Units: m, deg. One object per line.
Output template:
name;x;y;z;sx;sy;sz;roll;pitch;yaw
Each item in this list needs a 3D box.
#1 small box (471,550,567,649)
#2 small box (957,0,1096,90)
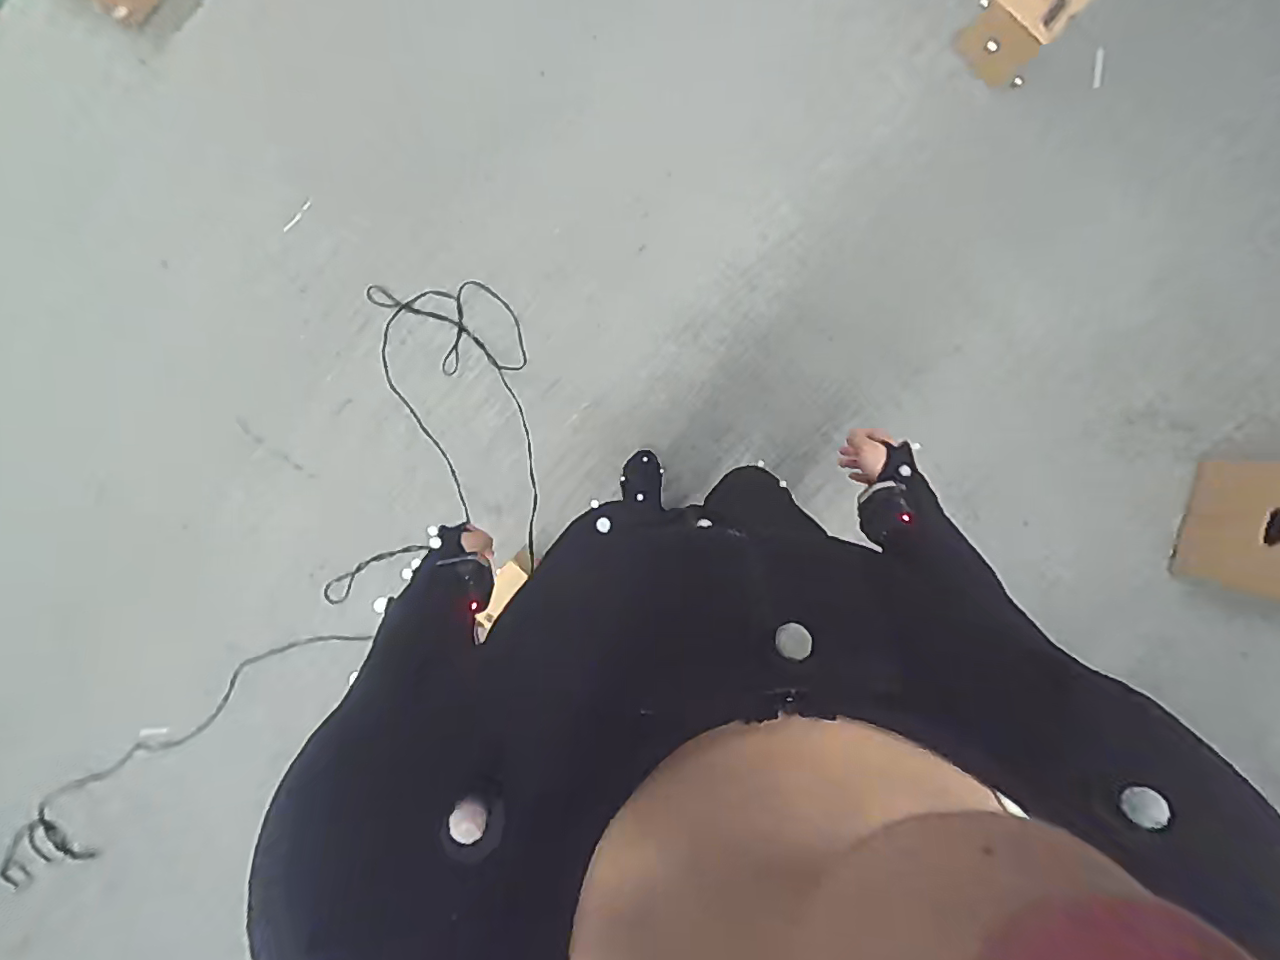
small box;-0.310;0.306;1.435;0.168;0.176;0.179;42;93;0
small box;0.925;-1.101;1.312;0.168;0.176;0.179;-45;90;4
